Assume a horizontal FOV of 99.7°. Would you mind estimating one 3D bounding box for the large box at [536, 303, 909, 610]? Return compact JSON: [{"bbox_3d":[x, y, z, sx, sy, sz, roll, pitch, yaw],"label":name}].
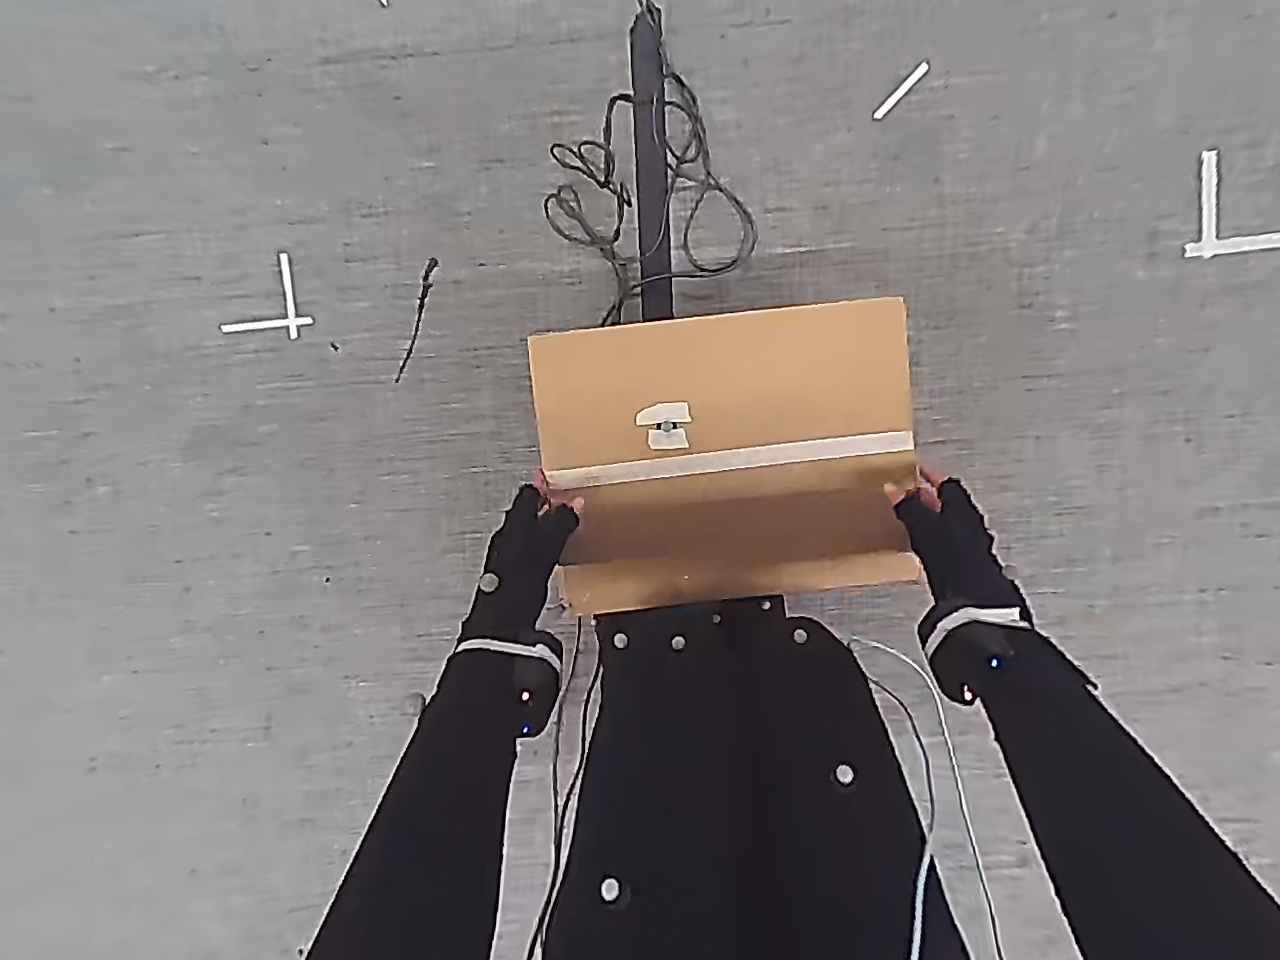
[{"bbox_3d":[0.100,-0.036,0.757,0.408,0.320,0.320,-6,95,2],"label":"large box"}]
